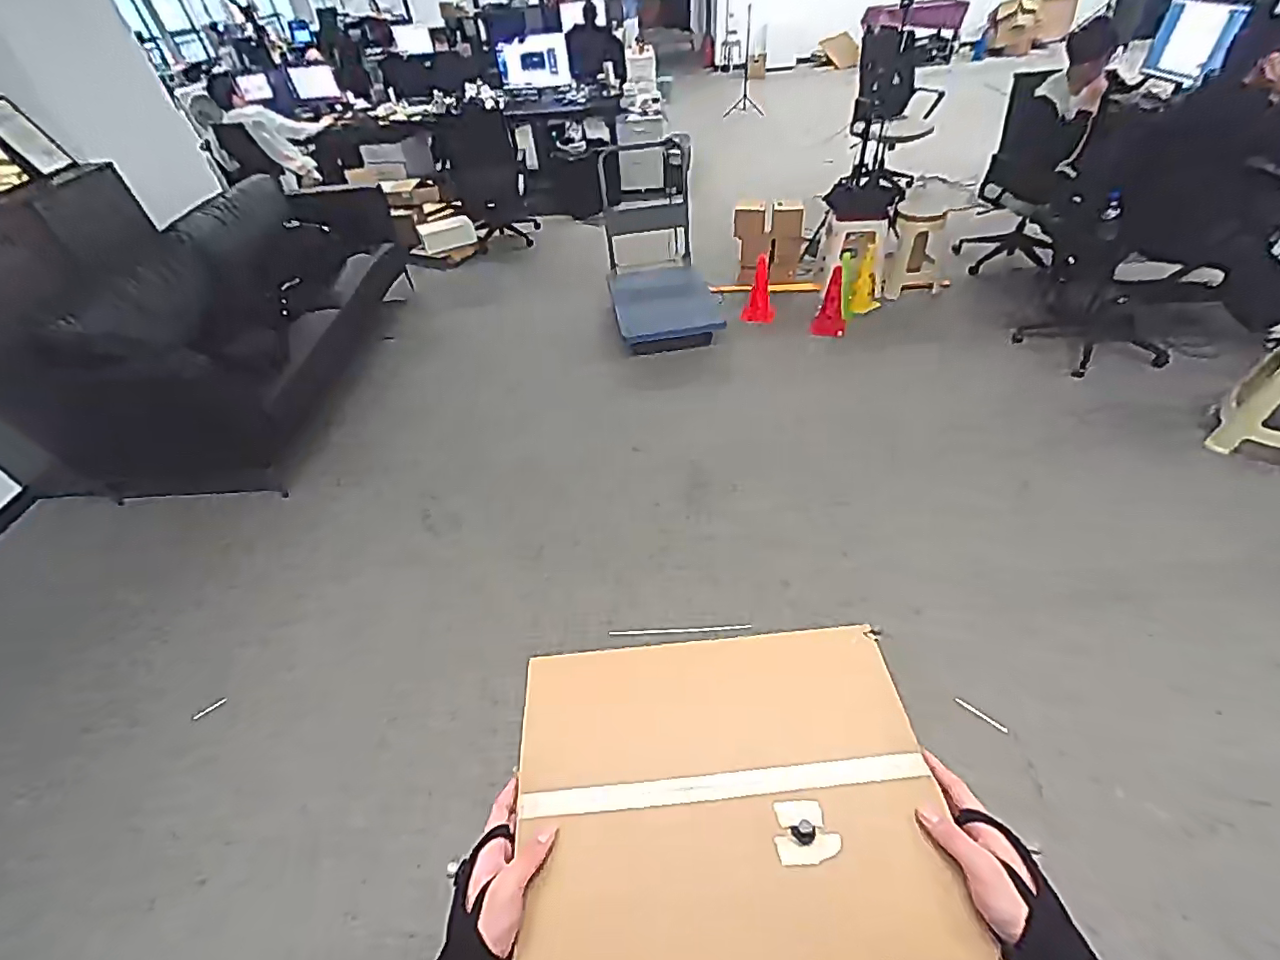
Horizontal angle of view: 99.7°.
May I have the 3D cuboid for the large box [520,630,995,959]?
[{"bbox_3d":[0.092,0.415,0.647,0.408,0.320,0.320,-6,46,-1],"label":"large box"}]
